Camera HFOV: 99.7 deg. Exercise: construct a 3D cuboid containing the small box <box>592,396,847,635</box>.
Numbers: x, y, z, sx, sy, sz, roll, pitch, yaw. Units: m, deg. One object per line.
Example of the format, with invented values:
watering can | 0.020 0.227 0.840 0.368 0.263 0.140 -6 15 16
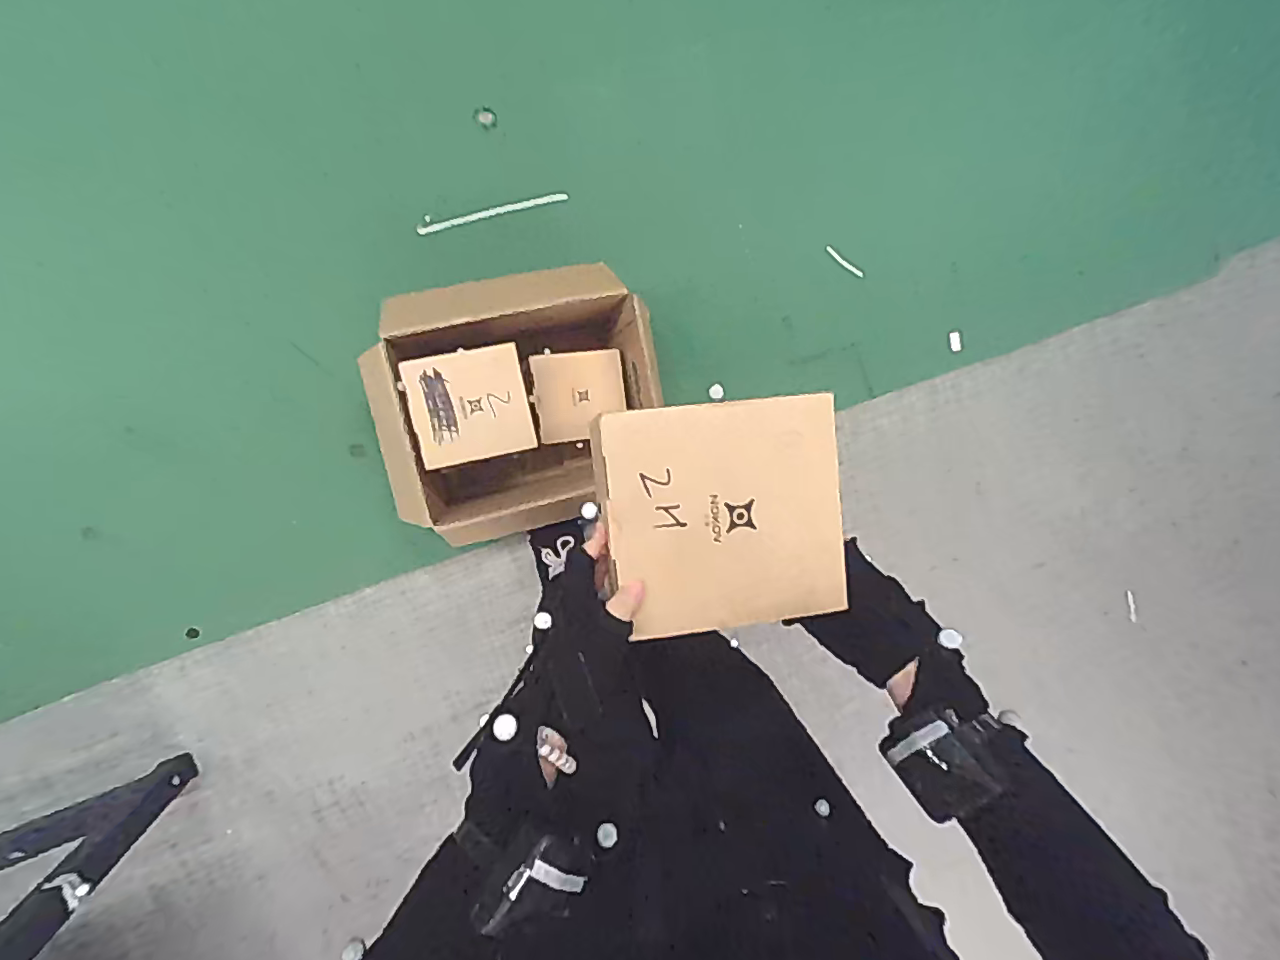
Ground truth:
small box | 0.055 0.019 0.472 0.179 0.176 0.168 -6 93 -7
